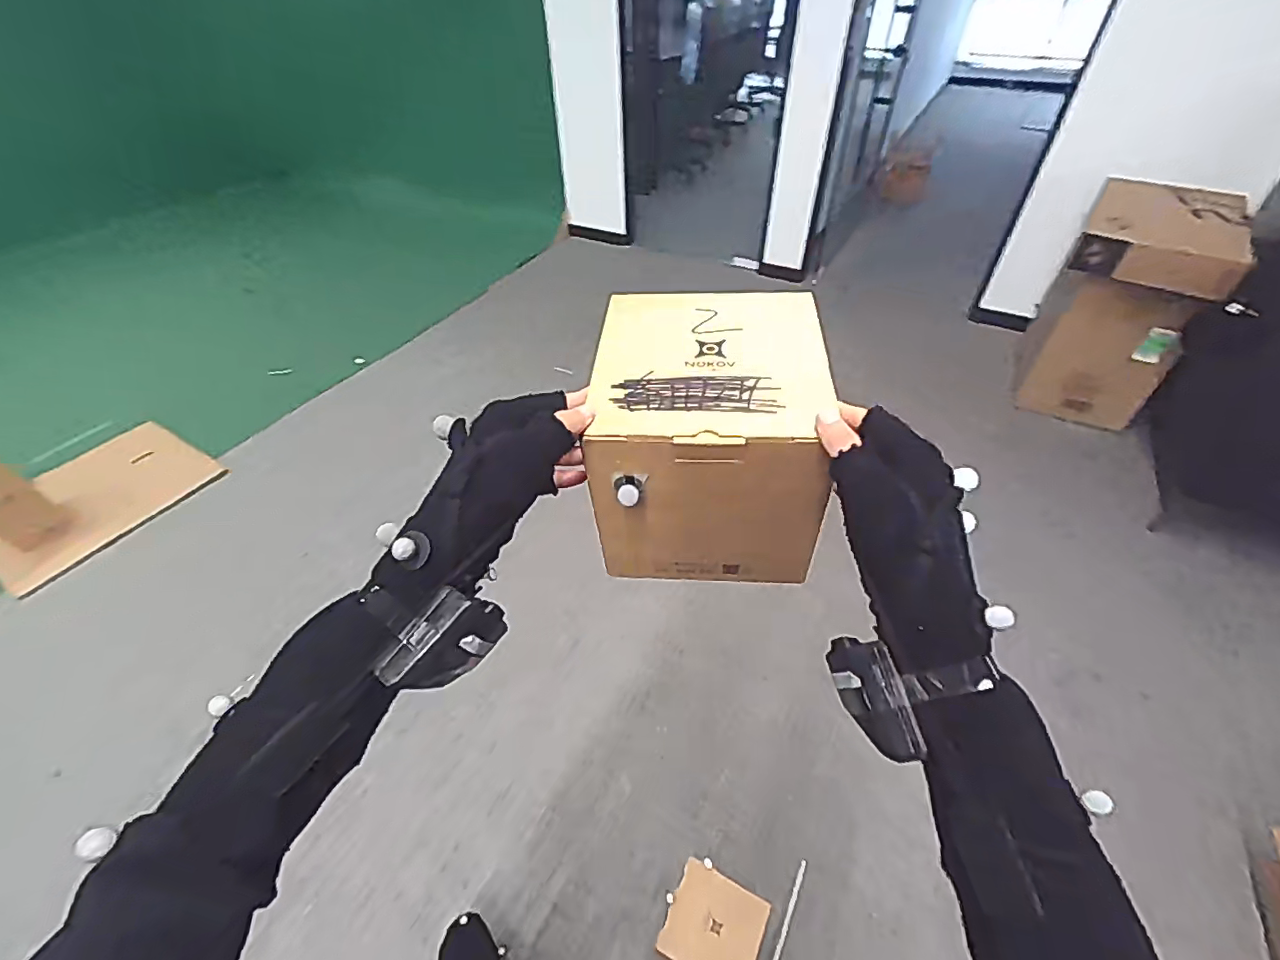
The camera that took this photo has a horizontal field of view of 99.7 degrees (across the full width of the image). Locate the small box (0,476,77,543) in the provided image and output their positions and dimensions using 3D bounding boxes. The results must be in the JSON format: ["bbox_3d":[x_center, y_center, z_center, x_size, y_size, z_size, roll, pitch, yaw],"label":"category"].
[{"bbox_3d":[-2.157,0.091,1.891,0.179,0.176,0.168,23,52,21],"label":"small box"}]

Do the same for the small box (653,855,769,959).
[{"bbox_3d":[0.138,0.897,1.080,0.179,0.176,0.168,20,48,20],"label":"small box"}]

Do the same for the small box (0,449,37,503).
[{"bbox_3d":[-2.163,-0.023,1.772,0.179,0.176,0.168,23,51,23],"label":"small box"}]
